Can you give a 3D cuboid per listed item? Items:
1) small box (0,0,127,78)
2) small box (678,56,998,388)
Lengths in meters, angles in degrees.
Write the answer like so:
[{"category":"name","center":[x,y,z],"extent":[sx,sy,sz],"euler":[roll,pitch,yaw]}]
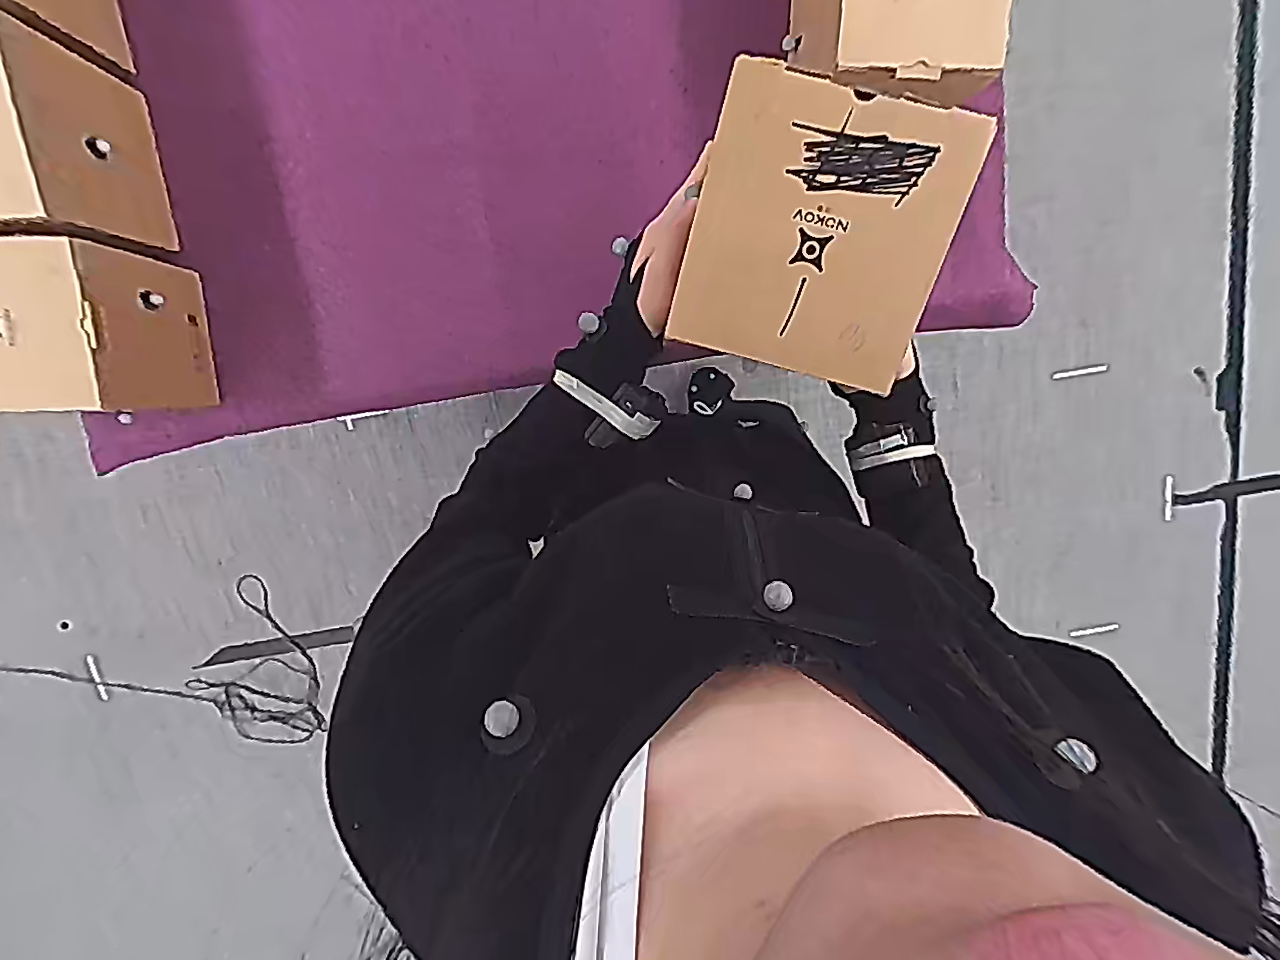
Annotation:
[{"category":"small box","center":[-0.660,-0.526,0.516],"extent":[0.168,0.176,0.179],"euler":[-6,103,-2]},{"category":"small box","center":[0.132,-0.186,0.434],"extent":[0.168,0.176,0.179],"euler":[14,108,3]}]
